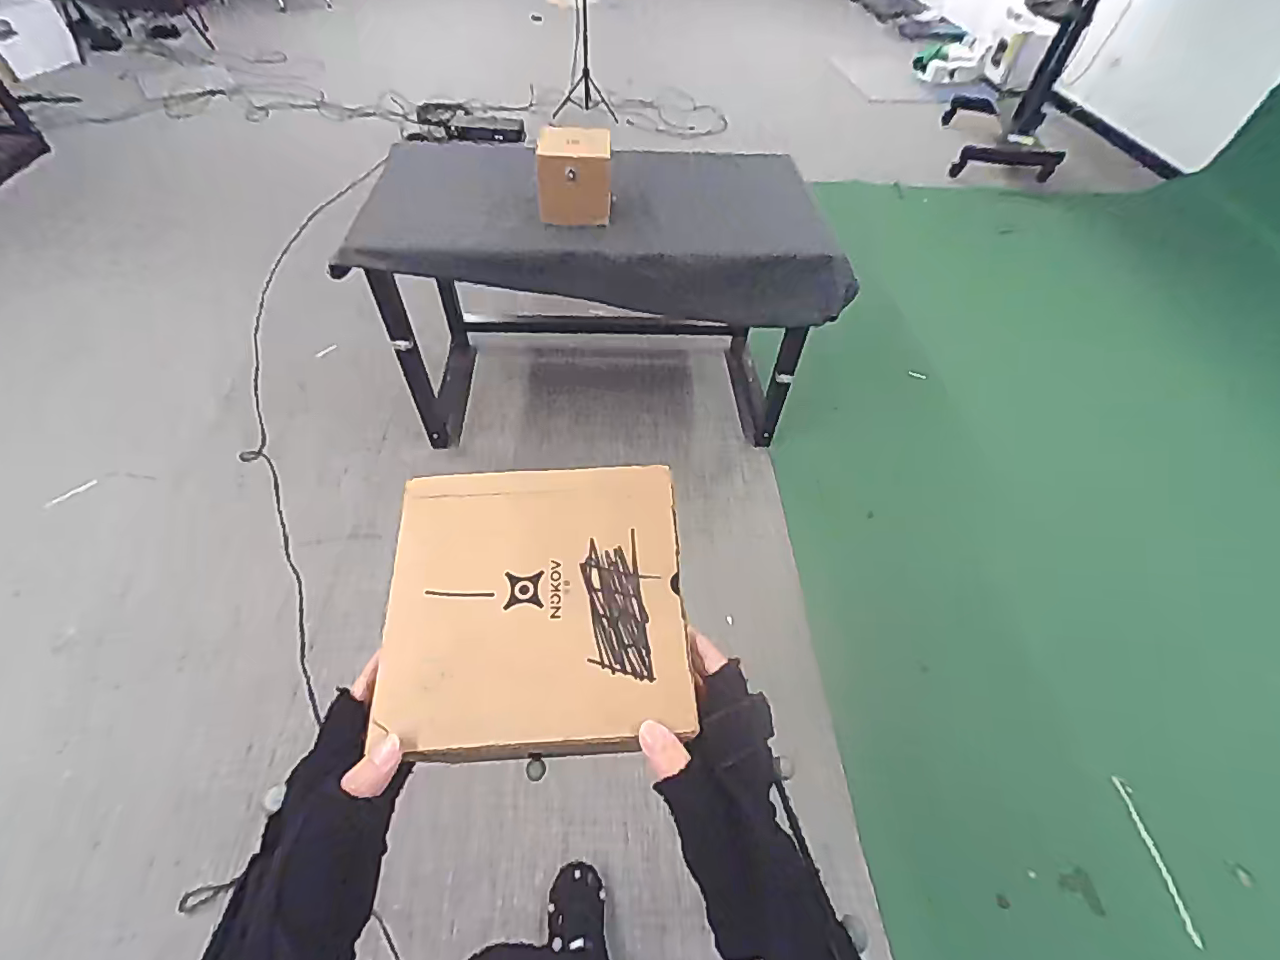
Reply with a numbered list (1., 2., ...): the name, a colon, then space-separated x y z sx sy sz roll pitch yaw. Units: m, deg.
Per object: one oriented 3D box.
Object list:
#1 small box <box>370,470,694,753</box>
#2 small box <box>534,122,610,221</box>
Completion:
1. small box: -0.064 0.104 0.397 0.179 0.176 0.168 -2 63 -3
2. small box: -0.165 -0.769 1.354 0.179 0.176 0.168 0 53 -5
